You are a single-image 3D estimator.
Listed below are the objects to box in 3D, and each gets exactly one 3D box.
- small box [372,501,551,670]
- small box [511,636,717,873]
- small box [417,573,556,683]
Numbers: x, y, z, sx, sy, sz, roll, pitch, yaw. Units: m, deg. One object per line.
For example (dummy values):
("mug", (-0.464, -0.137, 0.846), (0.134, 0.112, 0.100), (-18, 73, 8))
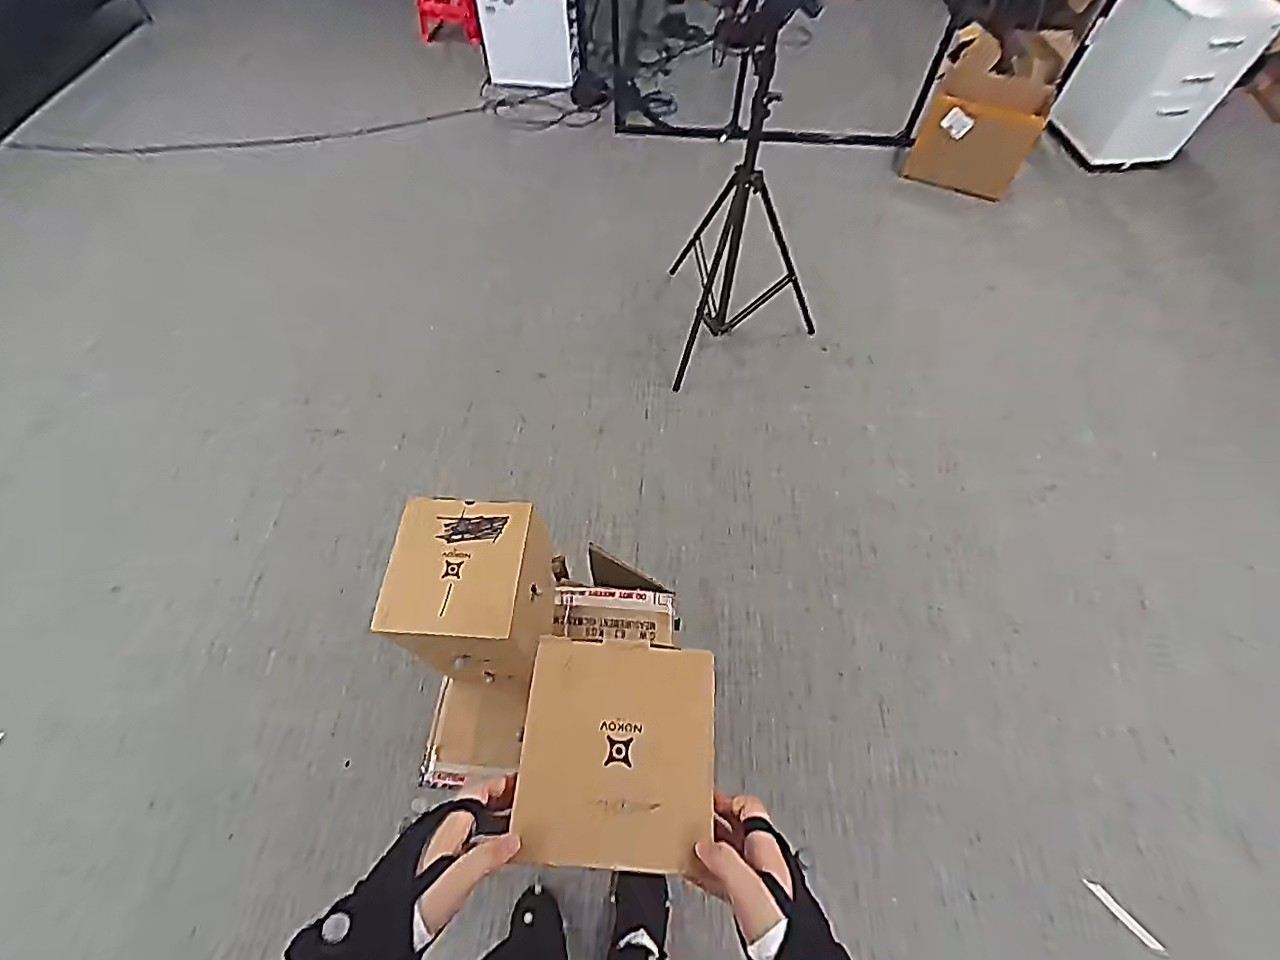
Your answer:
("small box", (-0.221, 0.145, 0.726), (0.168, 0.176, 0.179), (3, 62, 3))
("small box", (-0.021, 0.264, 0.533), (0.168, 0.176, 0.179), (3, 63, -1))
("small box", (-0.233, 0.222, 0.872), (0.168, 0.176, 0.179), (-1, 61, 1))
